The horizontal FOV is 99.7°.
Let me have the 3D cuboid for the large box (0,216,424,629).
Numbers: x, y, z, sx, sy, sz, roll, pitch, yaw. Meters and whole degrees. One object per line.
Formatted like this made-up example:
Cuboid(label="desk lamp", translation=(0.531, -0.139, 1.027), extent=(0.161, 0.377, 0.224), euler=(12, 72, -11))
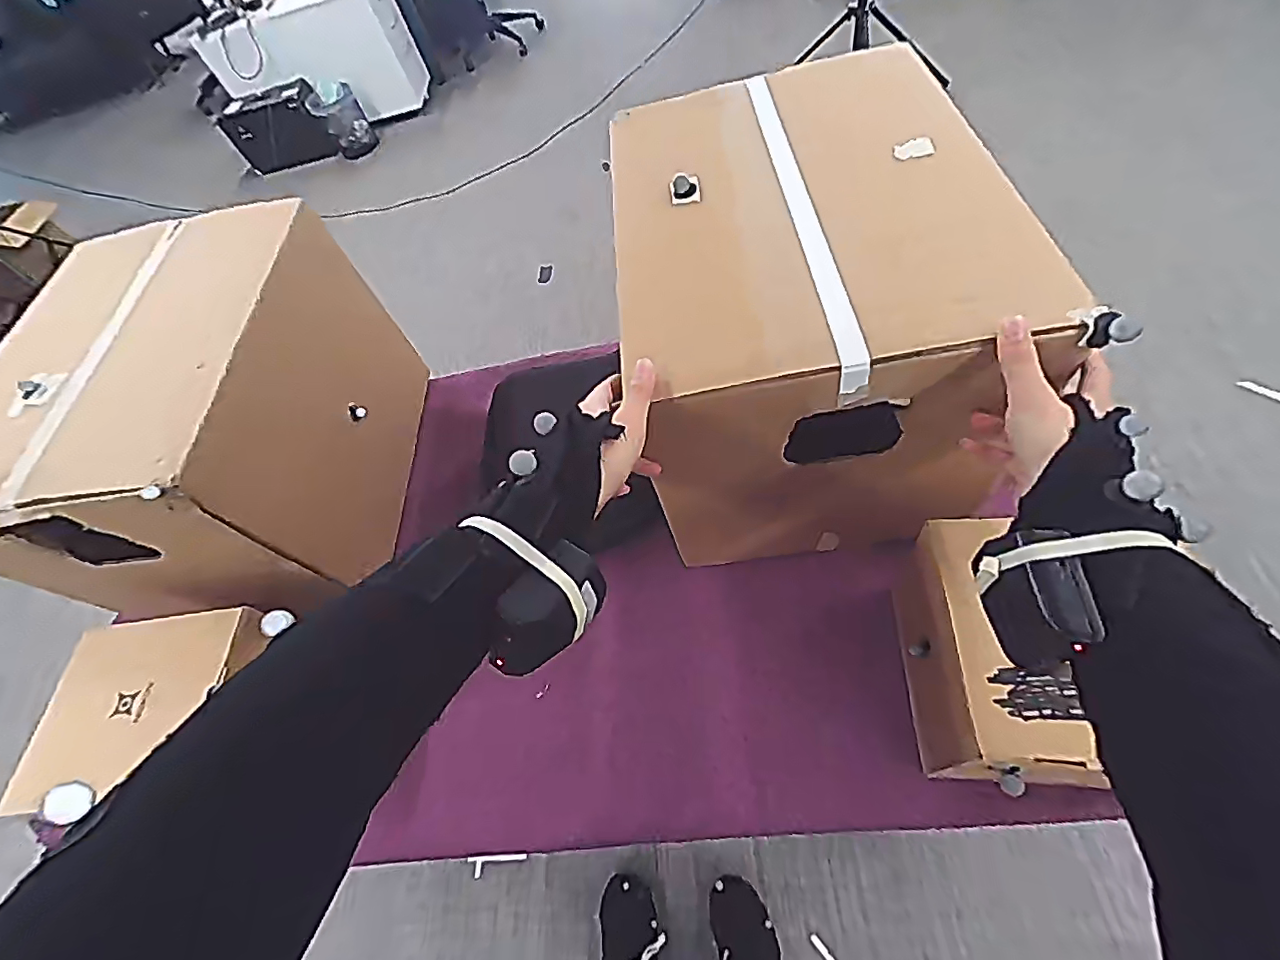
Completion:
Cuboid(label="large box", translation=(-0.513, -0.057, 0.695), extent=(0.320, 0.320, 0.408), euler=(-9, 60, 7))
